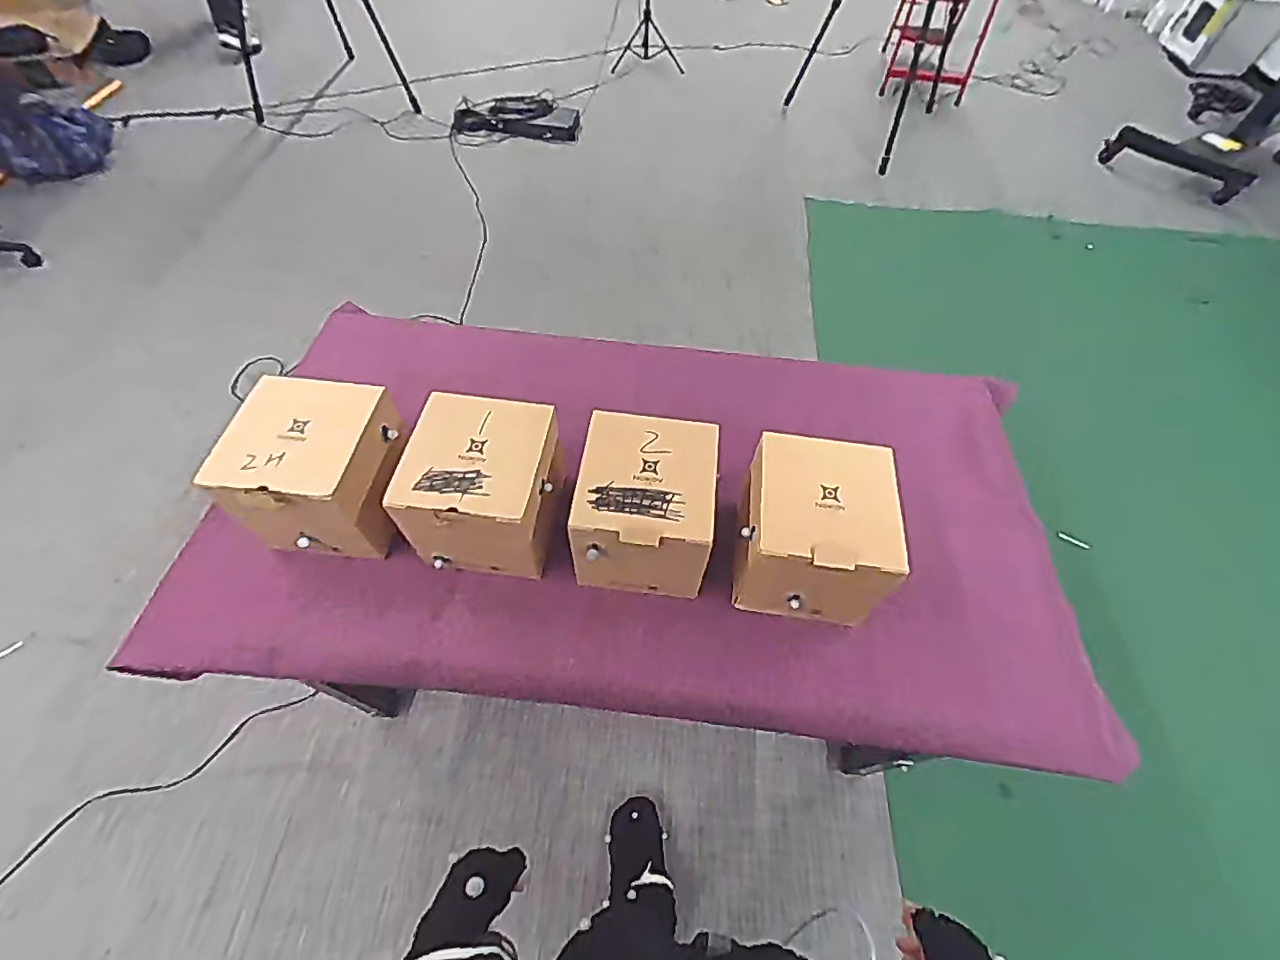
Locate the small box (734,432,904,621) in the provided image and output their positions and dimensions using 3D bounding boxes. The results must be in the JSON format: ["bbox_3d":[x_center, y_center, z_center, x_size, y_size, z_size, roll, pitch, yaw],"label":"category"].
[{"bbox_3d":[0.221,0.065,0.712,0.168,0.176,0.179,8,57,3],"label":"small box"}]

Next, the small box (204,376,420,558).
[{"bbox_3d":[-0.423,-0.014,0.740,0.168,0.176,0.179,6,57,2],"label":"small box"}]
